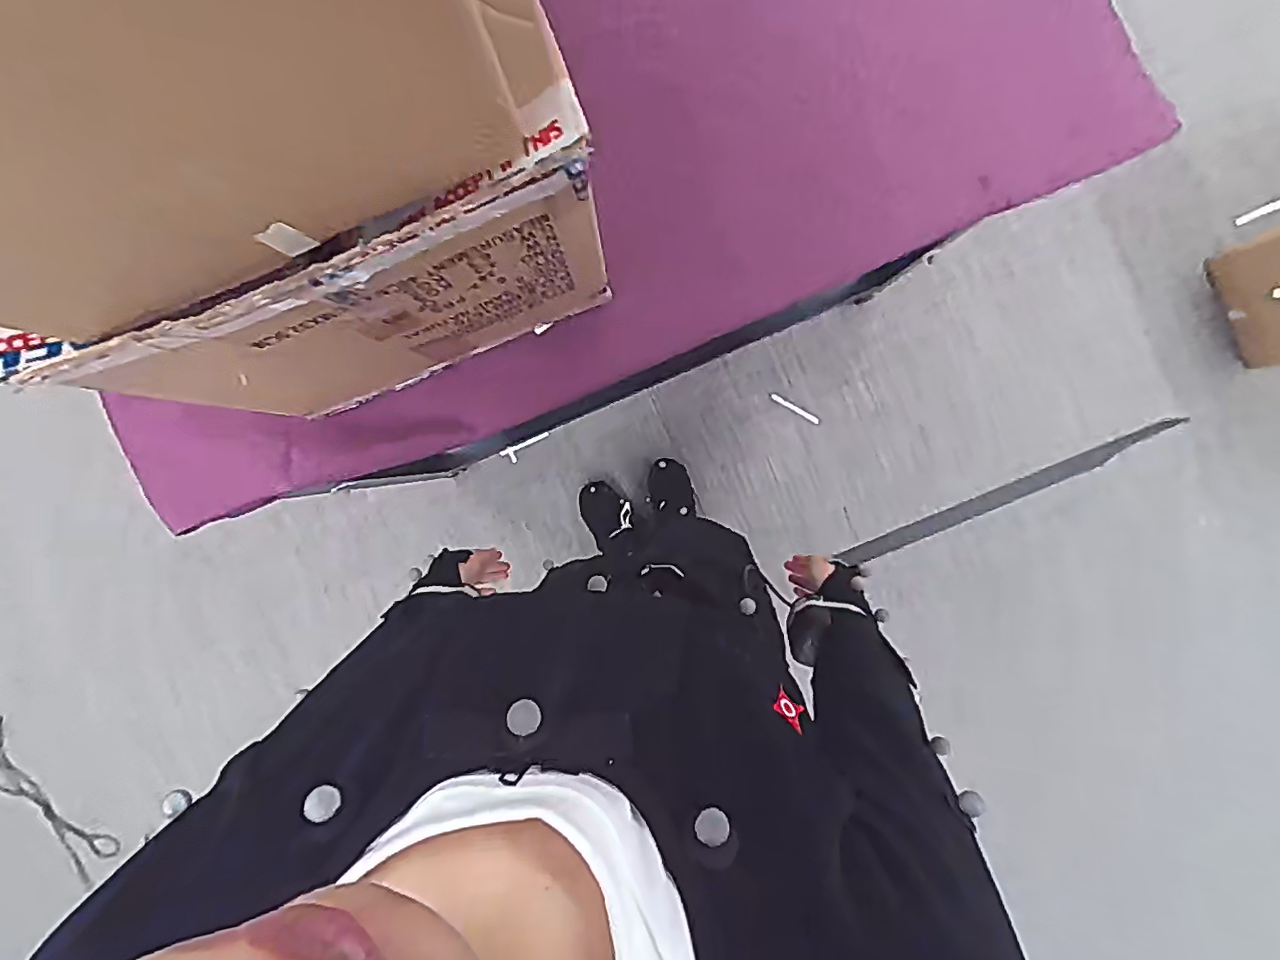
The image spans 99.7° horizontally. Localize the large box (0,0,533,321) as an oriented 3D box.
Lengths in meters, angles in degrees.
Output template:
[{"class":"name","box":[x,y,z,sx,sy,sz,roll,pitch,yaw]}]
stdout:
[{"class":"large box","box":[-0.280,-0.329,0.180,0.320,0.320,0.408,-24,92,2]}]
